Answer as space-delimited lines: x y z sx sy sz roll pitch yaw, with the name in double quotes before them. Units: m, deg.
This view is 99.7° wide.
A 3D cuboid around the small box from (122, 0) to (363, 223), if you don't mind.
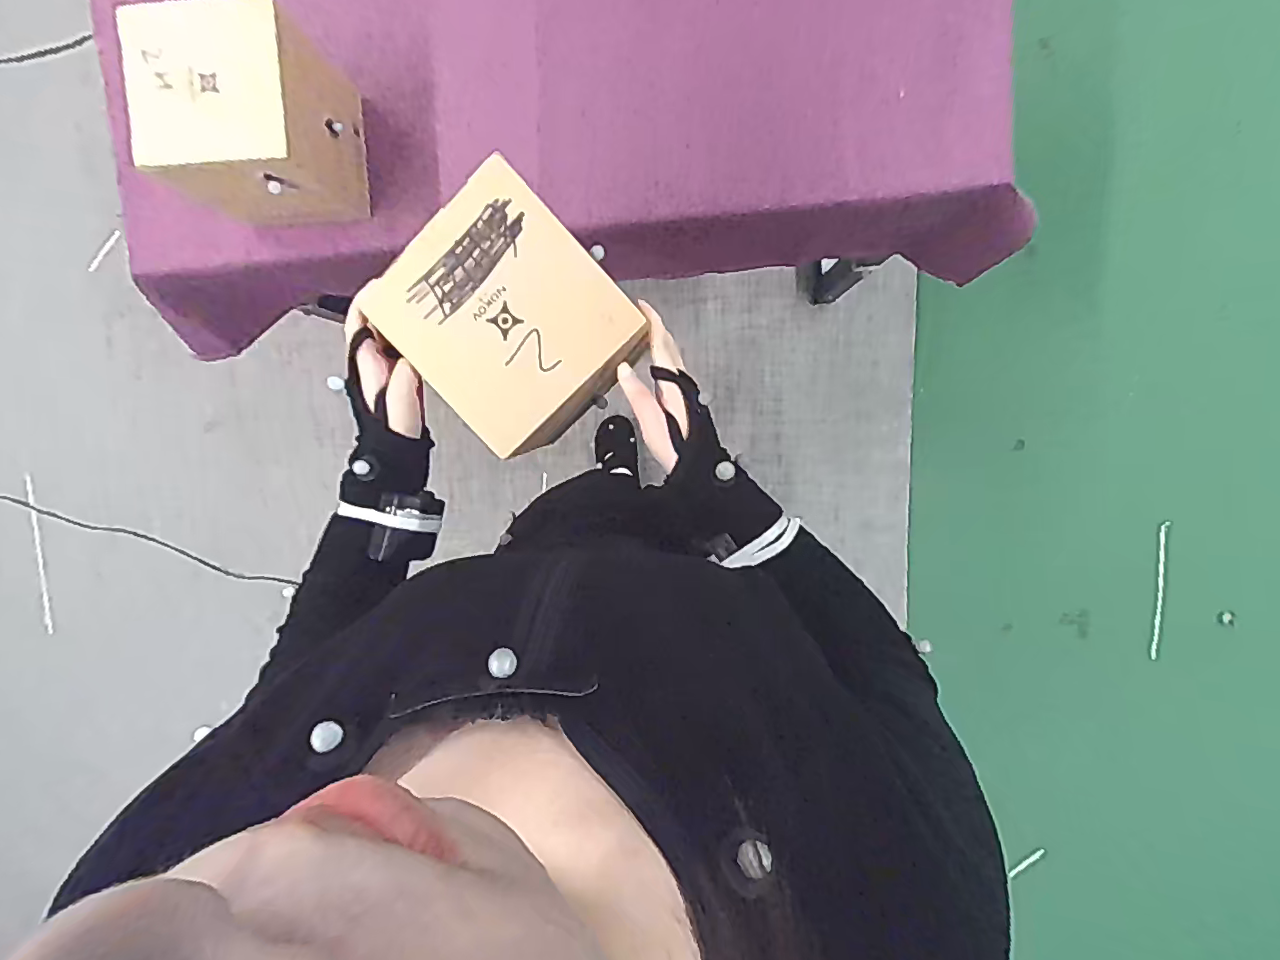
"small box" -0.461 -0.431 0.660 0.179 0.176 0.168 -2 95 3
